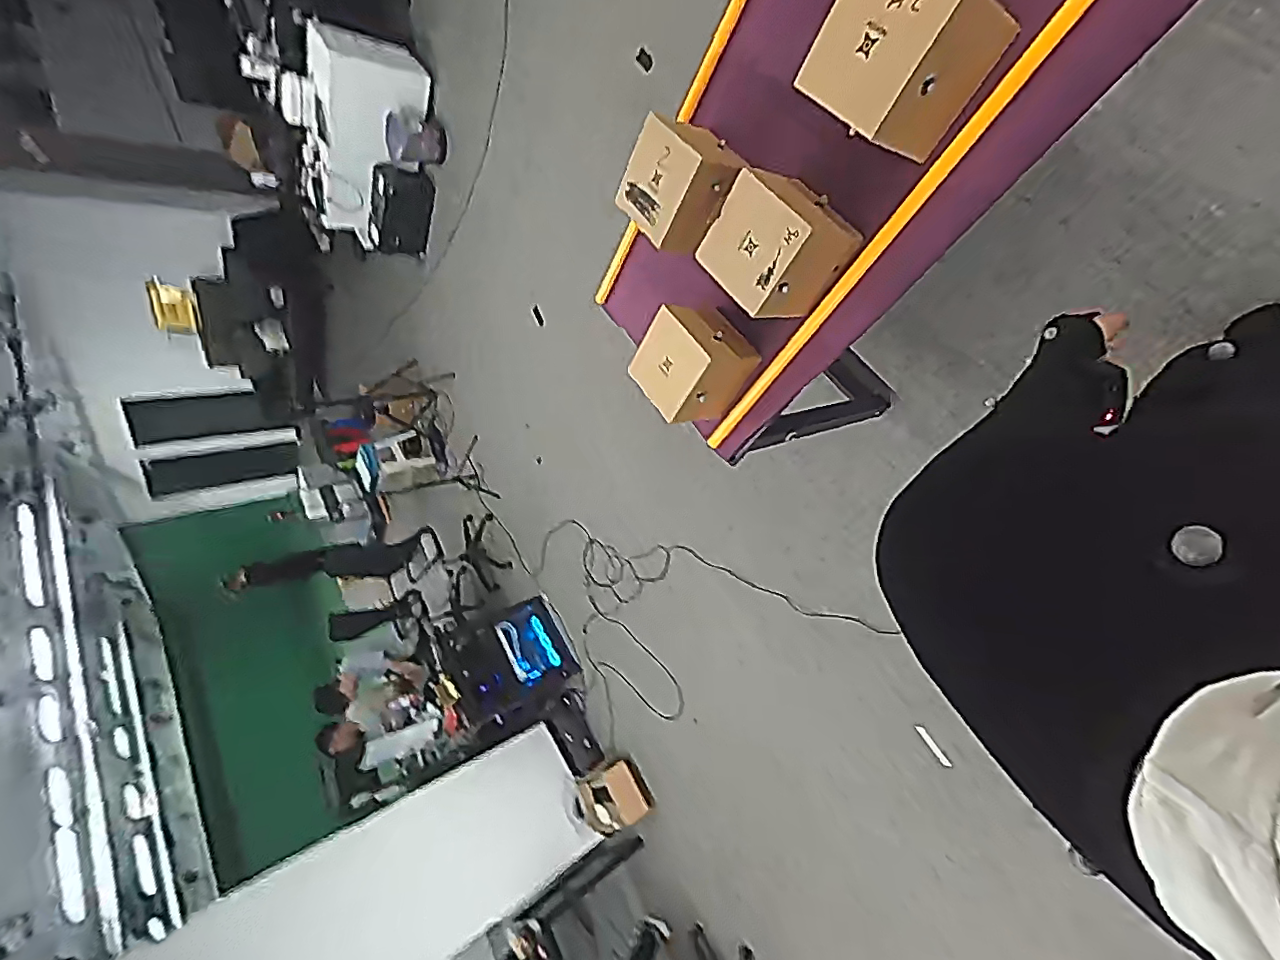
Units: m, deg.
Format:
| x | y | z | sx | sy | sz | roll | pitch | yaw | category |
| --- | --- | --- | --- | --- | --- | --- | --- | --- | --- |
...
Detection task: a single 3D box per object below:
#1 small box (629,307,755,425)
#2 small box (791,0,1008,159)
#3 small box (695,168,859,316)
| x | y | z | sx | sy | sz | roll | pitch | yaw | category |
| --- | --- | --- | --- | --- | --- | --- | --- | --- | --- |
| 0.113 | -0.240 | 1.130 | 0.168 | 0.176 | 0.179 | 55 | 136 | 23 | small box |
| 0.353 | -0.575 | 0.741 | 0.168 | 0.176 | 0.179 | 56 | 137 | 24 | small box |
| 0.235 | -0.401 | 0.936 | 0.179 | 0.176 | 0.168 | 56 | 138 | 22 | small box |
